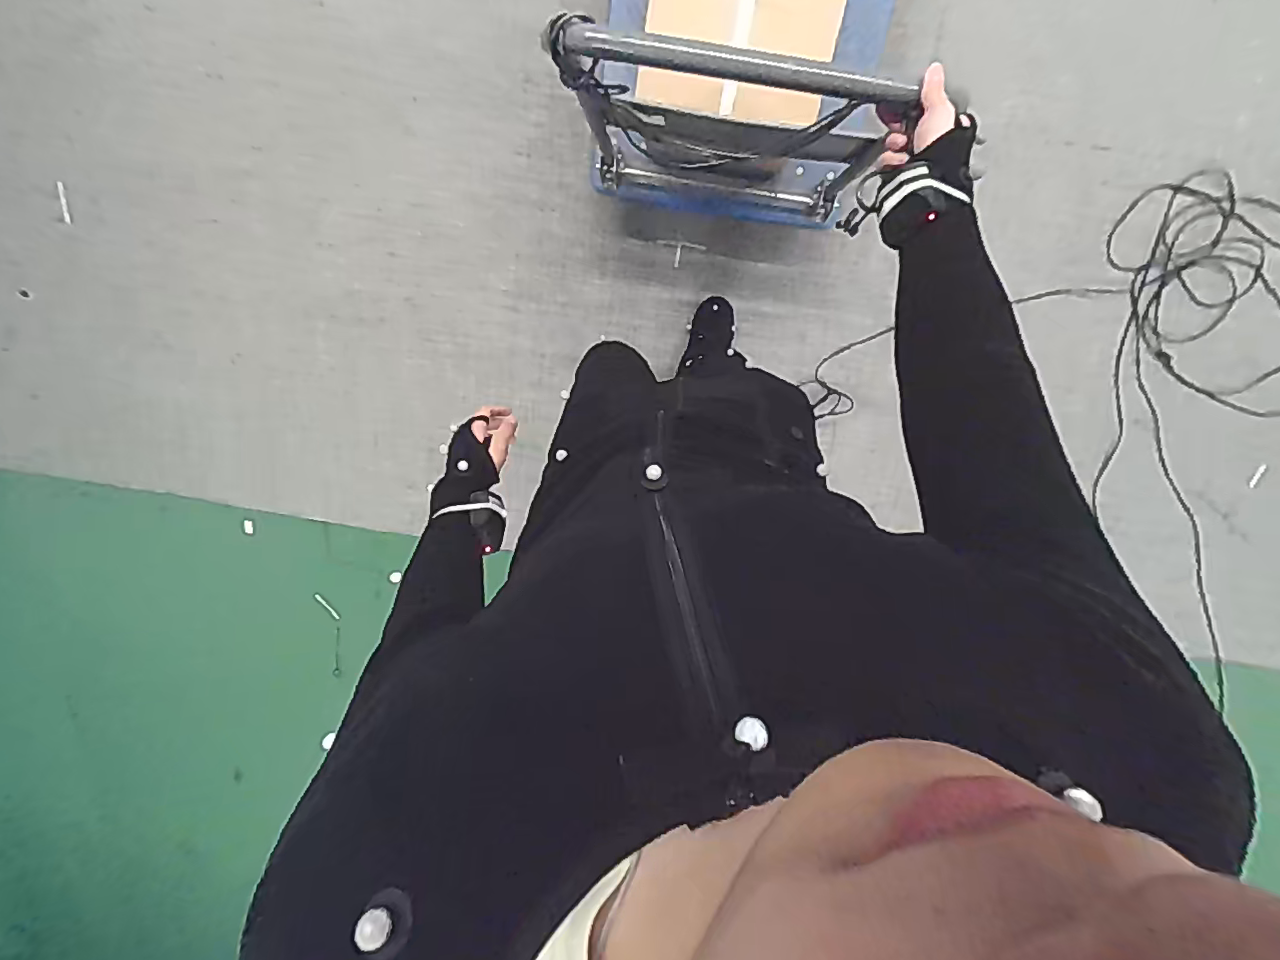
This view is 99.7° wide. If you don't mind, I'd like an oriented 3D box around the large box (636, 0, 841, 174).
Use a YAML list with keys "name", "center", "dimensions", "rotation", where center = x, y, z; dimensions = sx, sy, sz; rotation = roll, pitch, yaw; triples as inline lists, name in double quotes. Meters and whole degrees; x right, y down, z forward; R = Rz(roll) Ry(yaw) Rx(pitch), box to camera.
- name: "large box"
  center: [0.187, -0.848, 1.012]
  dimensions: [0.320, 0.320, 0.408]
  rotation: [11, 109, 0]
